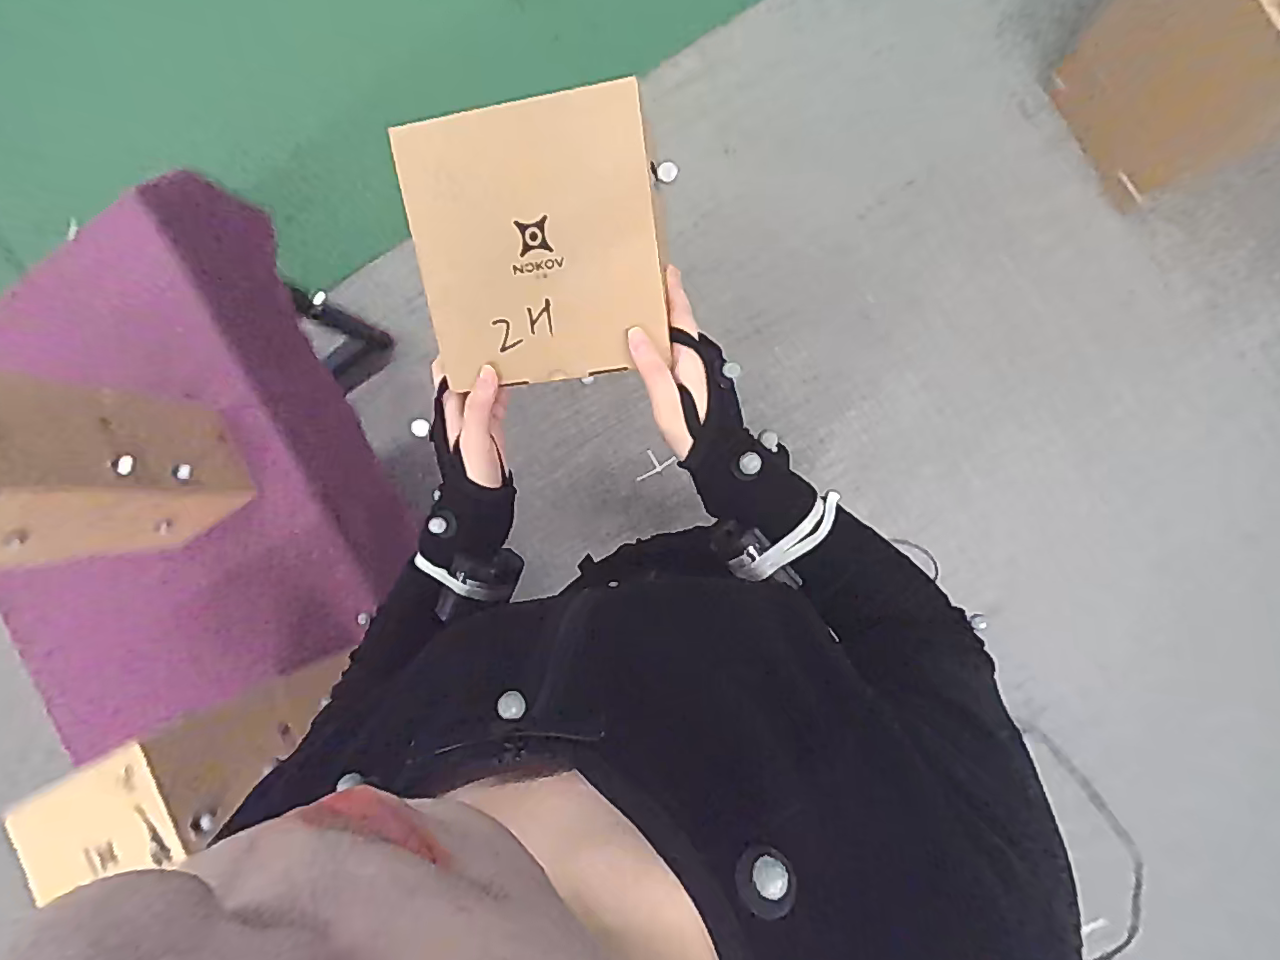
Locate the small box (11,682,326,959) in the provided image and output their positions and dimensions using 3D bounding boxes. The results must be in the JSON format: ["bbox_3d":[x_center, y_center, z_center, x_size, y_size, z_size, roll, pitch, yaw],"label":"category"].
[{"bbox_3d":[-0.499,0.357,0.597,0.179,0.176,0.168,-29,86,7],"label":"small box"}]

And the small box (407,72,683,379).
[{"bbox_3d":[-0.055,-0.184,0.439,0.168,0.176,0.179,-4,106,9],"label":"small box"}]

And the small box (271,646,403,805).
[{"bbox_3d":[-0.477,0.361,0.761,0.179,0.176,0.168,-28,85,6],"label":"small box"}]
